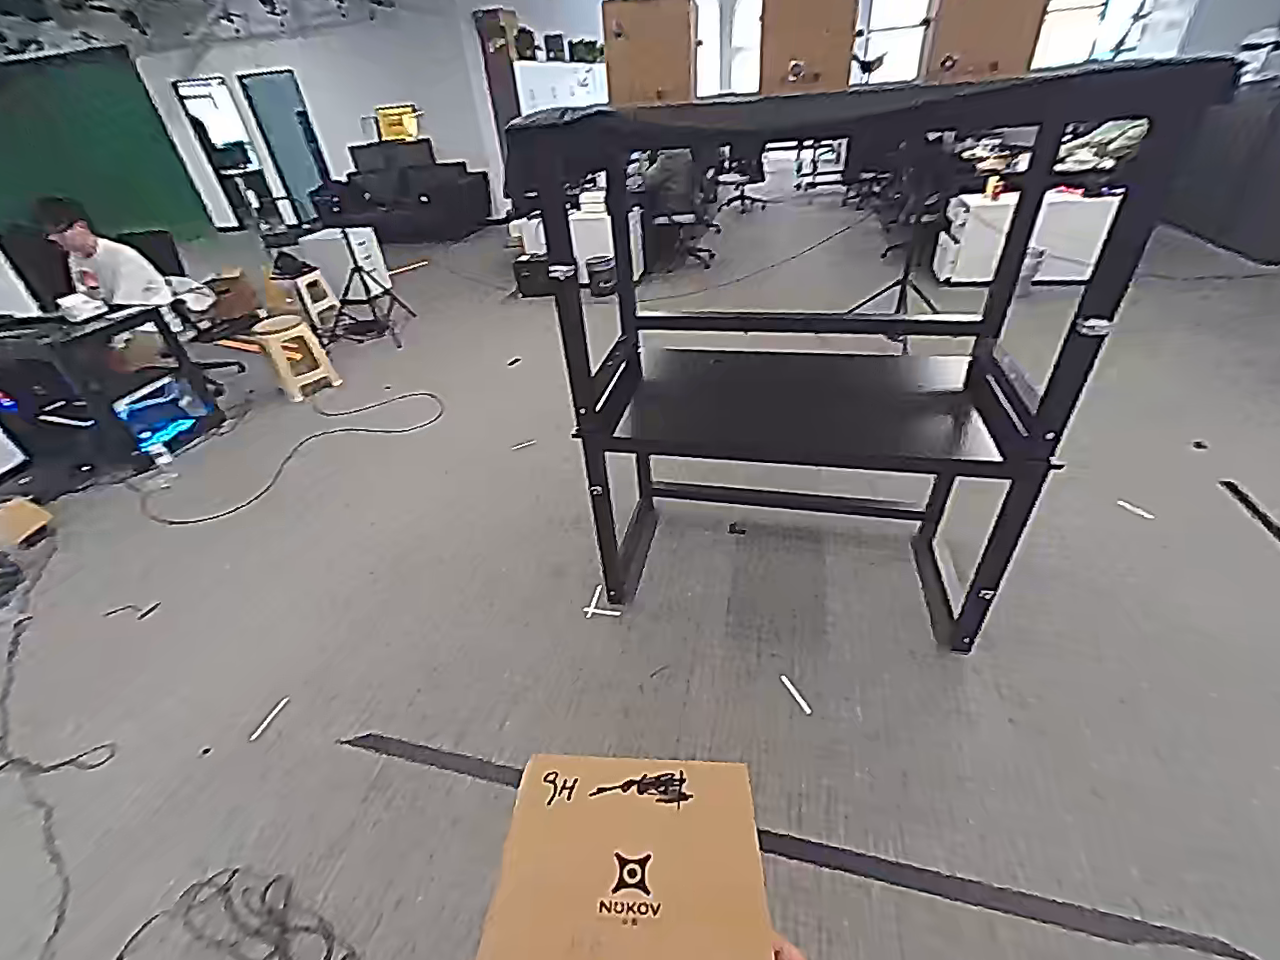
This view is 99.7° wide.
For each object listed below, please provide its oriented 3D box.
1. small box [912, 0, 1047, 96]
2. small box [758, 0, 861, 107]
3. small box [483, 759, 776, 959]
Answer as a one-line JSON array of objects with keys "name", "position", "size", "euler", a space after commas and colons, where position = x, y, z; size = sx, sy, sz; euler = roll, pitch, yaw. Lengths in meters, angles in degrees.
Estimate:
[{"name": "small box", "position": [0.590, -0.786, 0.948], "size": [0.168, 0.176, 0.179], "euler": [6, 36, 15]}, {"name": "small box", "position": [0.314, -0.803, 1.009], "size": [0.168, 0.176, 0.179], "euler": [6, 36, 16]}, {"name": "small box", "position": [-0.003, 0.322, 0.361], "size": [0.168, 0.176, 0.179], "euler": [2, 28, 2]}]
